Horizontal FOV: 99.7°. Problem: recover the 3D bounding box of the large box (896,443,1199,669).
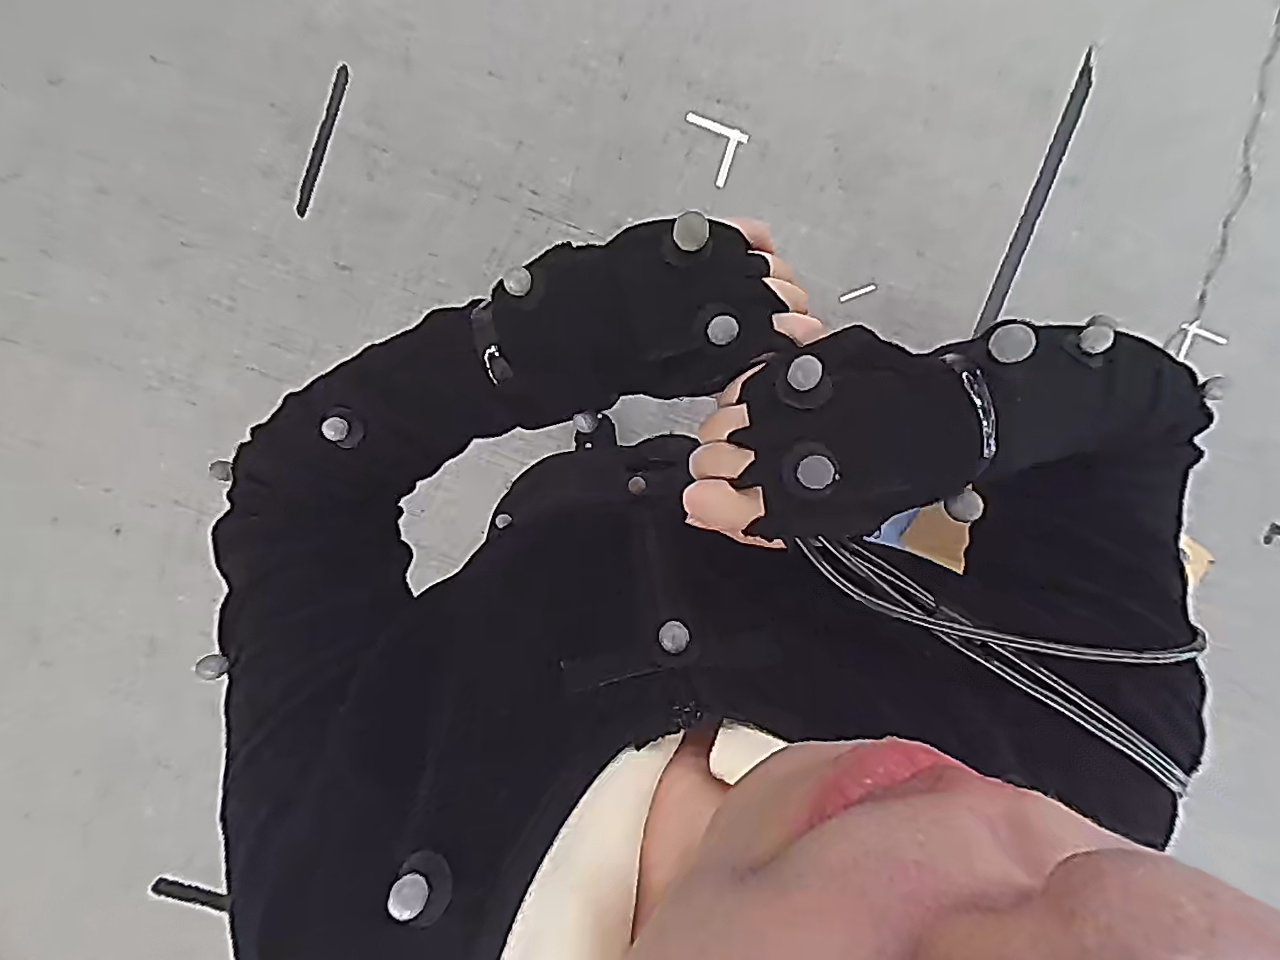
[{"bbox_3d":[0.901,0.150,1.247,0.408,0.320,0.320,36,91,-7],"label":"large box"}]
